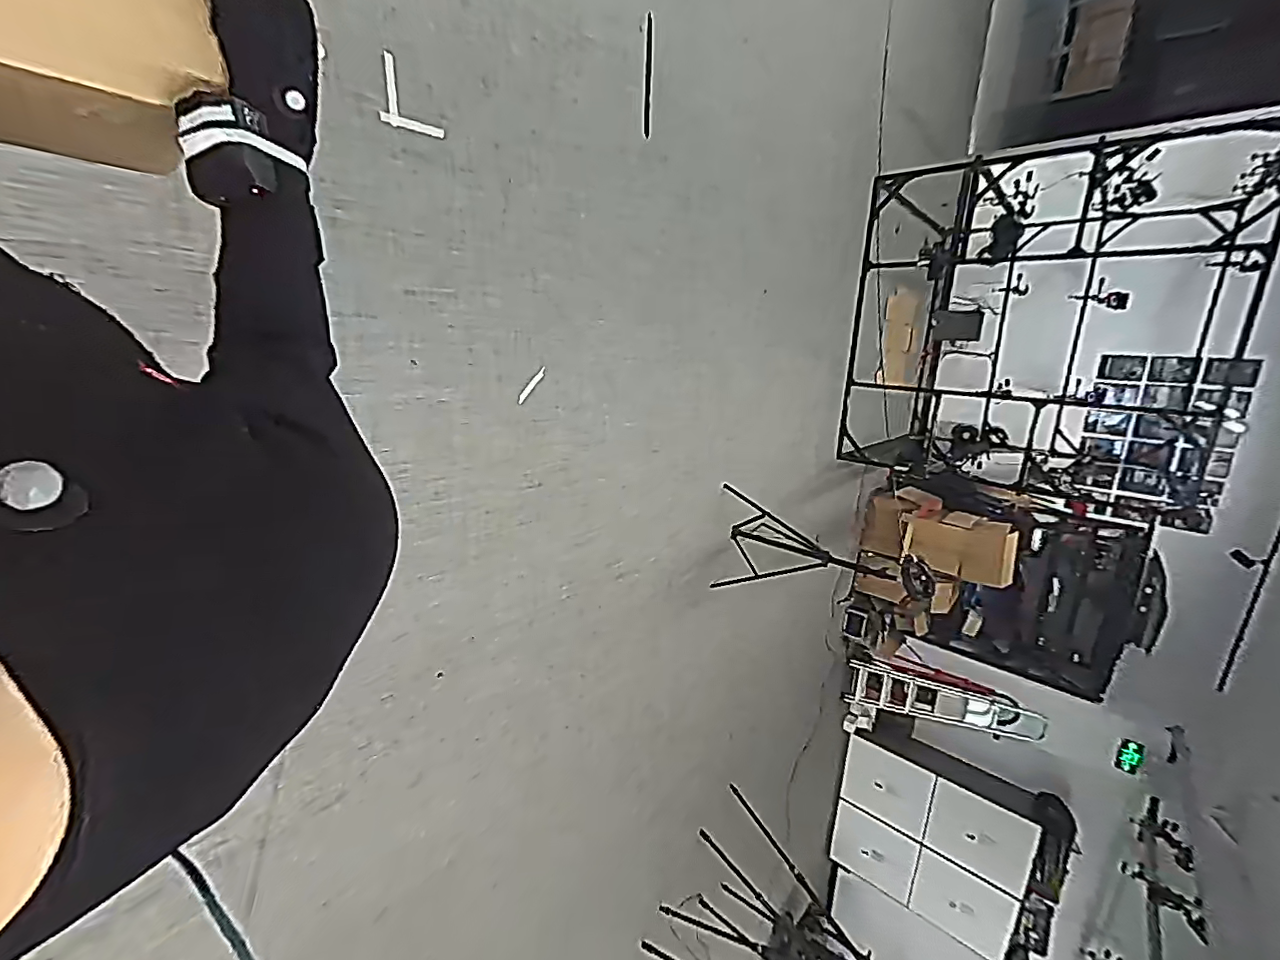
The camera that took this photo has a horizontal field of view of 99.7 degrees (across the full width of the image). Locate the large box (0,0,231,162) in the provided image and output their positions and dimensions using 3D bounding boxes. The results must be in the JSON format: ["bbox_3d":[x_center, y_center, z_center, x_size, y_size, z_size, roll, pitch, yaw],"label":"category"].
[{"bbox_3d":[-0.560,-0.439,0.340,0.408,0.320,0.320,-13,114,-47],"label":"large box"}]
